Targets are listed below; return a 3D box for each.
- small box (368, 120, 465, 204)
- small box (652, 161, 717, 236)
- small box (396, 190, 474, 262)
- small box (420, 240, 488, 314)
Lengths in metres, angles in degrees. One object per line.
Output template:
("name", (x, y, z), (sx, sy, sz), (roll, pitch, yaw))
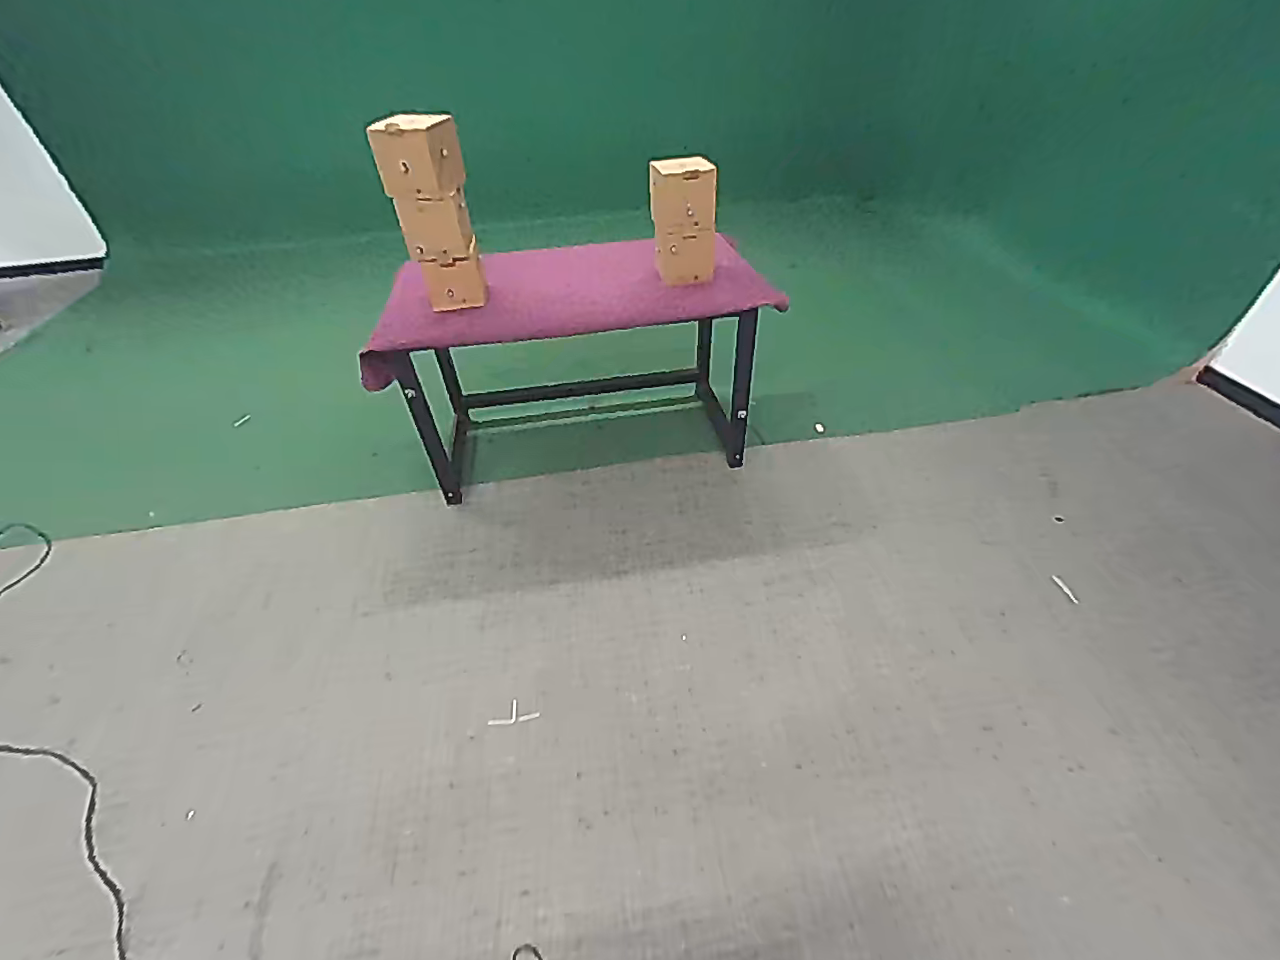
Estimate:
("small box", (-0.608, -0.882, 1.502), (0.168, 0.176, 0.179), (7, 45, 9))
("small box", (0.134, -0.879, 1.690), (0.168, 0.176, 0.179), (-10, 42, -7))
("small box", (-0.602, -0.760, 1.612), (0.168, 0.176, 0.179), (-5, 43, -4))
("small box", (-0.590, -0.652, 1.736), (0.168, 0.176, 0.179), (-9, 44, -7))
